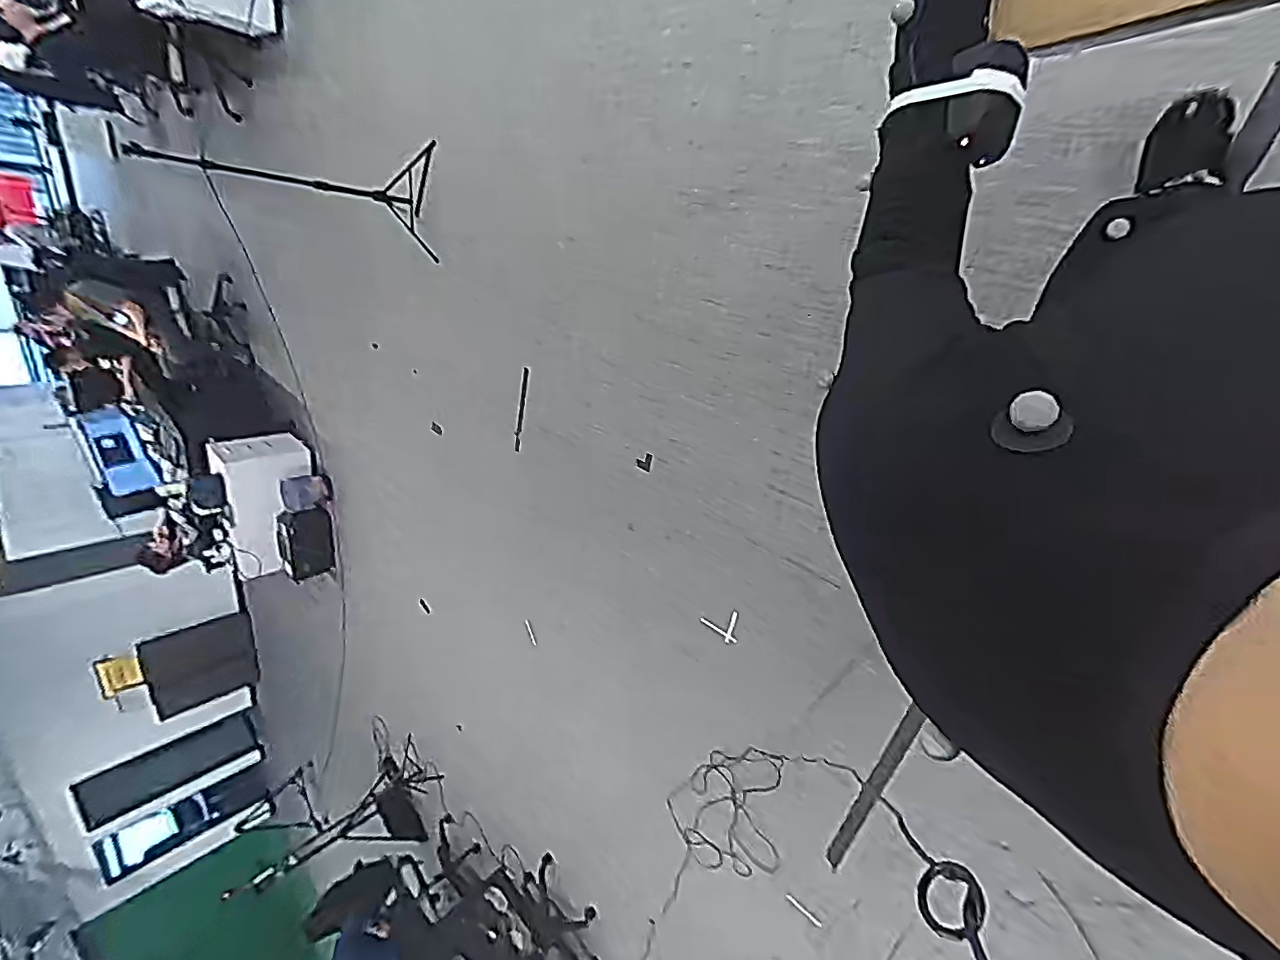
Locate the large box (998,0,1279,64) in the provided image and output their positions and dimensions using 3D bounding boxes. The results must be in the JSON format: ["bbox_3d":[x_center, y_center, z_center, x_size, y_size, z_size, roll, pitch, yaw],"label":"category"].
[{"bbox_3d":[0.490,-0.501,0.330,0.408,0.320,0.320,11,128,37],"label":"large box"}]
